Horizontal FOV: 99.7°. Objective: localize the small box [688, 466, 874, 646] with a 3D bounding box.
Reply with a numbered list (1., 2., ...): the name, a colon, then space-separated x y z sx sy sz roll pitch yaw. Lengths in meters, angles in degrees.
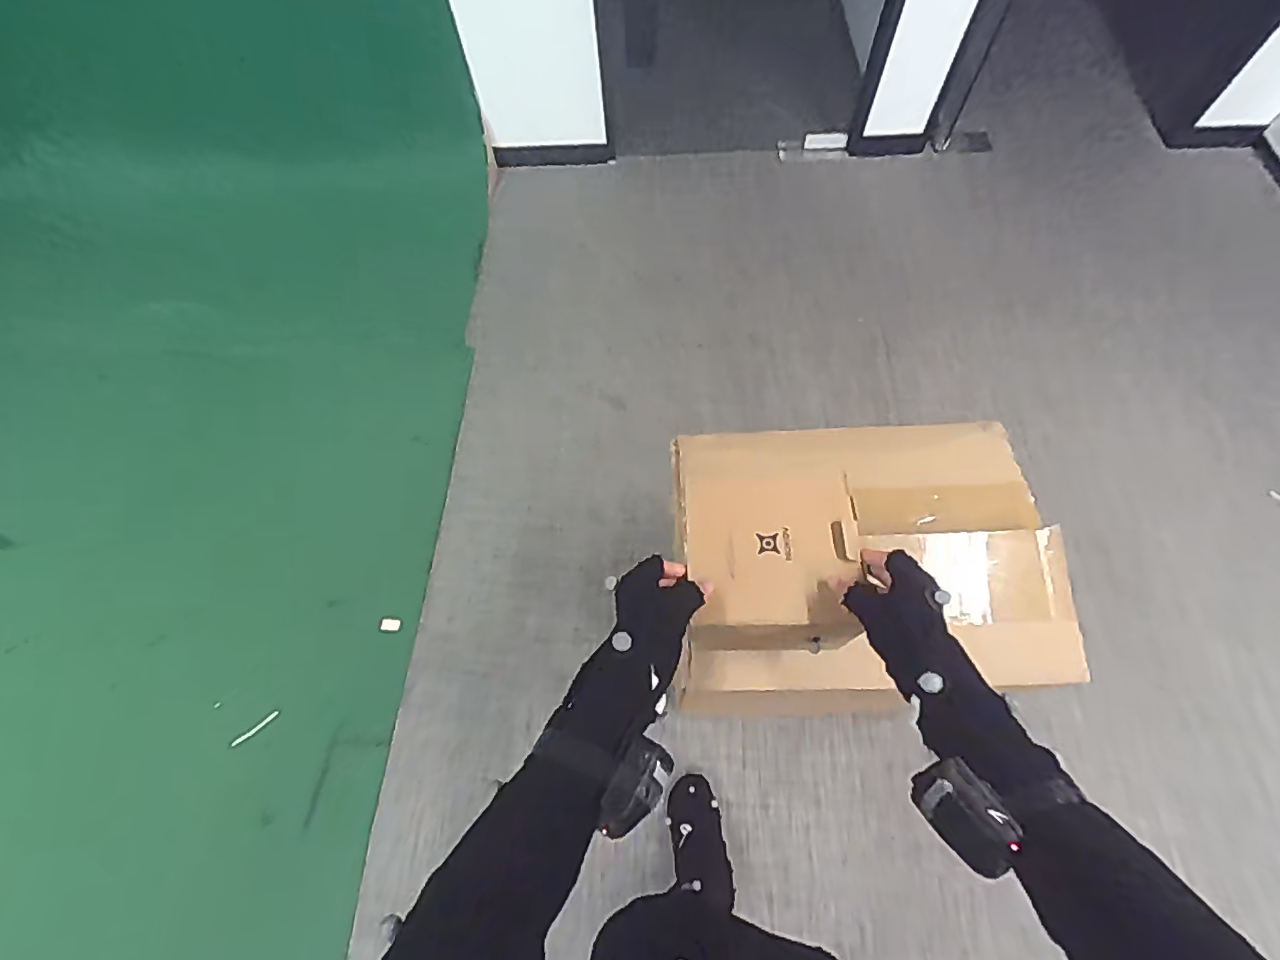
1. small box: 0.147 0.096 0.629 0.179 0.176 0.168 -3 64 6
